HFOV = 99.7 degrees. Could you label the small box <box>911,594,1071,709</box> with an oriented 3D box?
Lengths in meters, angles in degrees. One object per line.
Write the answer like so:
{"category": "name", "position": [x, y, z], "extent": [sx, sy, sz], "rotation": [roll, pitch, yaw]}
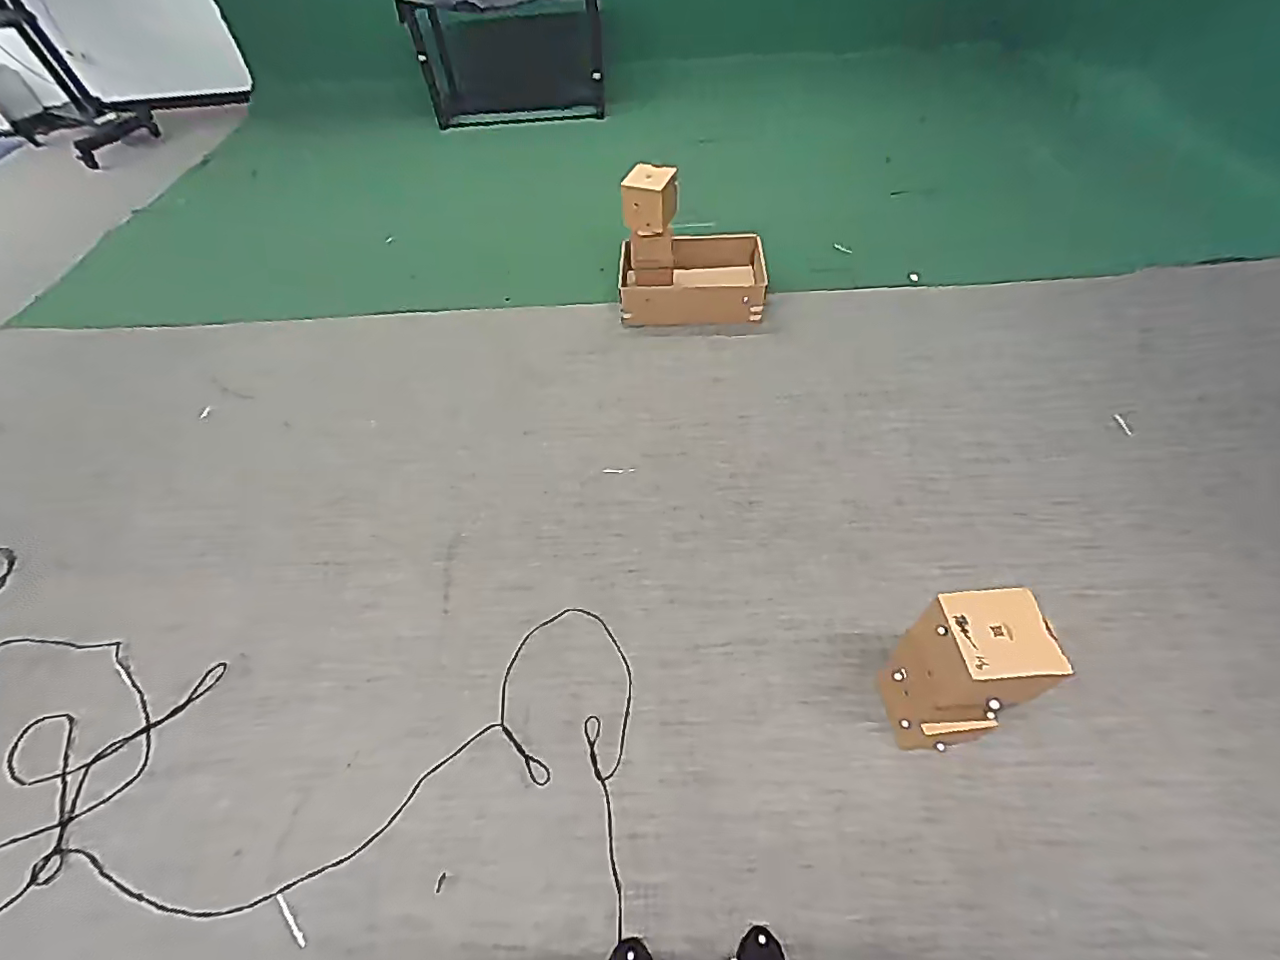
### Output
{"category": "small box", "position": [0.661, 0.334, 1.045], "extent": [0.179, 0.176, 0.168], "rotation": [-3, 52, 1]}

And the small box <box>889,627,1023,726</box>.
{"category": "small box", "position": [0.675, 0.428, 1.178], "extent": [0.179, 0.176, 0.168], "rotation": [-4, 51, 2]}

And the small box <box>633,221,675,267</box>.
{"category": "small box", "position": [0.061, -1.004, 2.243], "extent": [0.168, 0.176, 0.179], "rotation": [-1, 52, 2]}

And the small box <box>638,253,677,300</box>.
{"category": "small box", "position": [0.074, -0.913, 2.380], "extent": [0.168, 0.176, 0.179], "rotation": [-2, 53, 2]}

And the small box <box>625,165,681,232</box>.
{"category": "small box", "position": [0.055, -1.096, 2.109], "extent": [0.168, 0.176, 0.179], "rotation": [17, 55, 15]}
